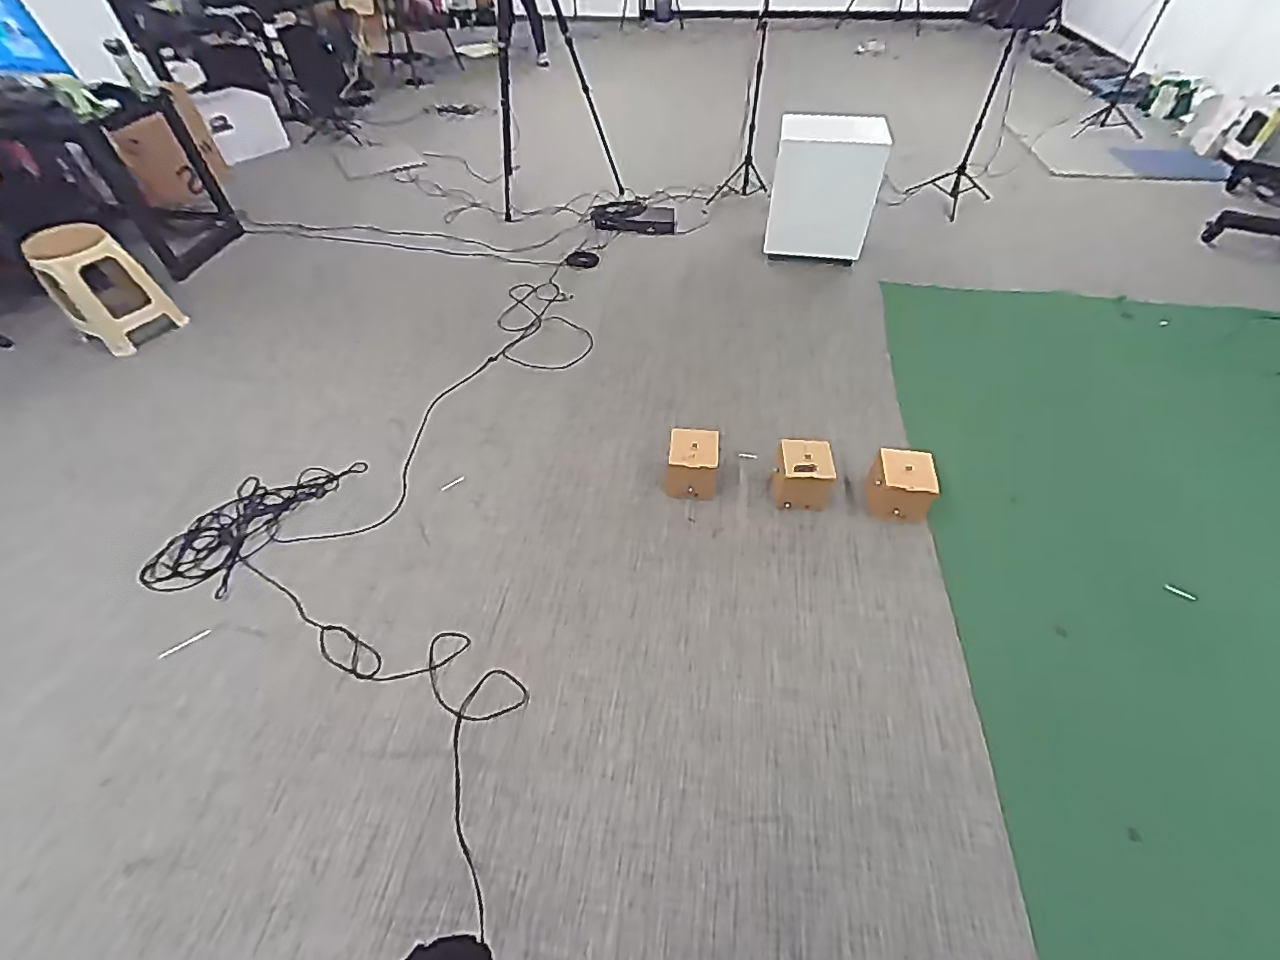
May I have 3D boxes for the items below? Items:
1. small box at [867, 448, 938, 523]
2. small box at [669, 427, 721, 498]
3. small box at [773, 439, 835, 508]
[{"bbox_3d":[0.881,0.020,1.834,0.168,0.176,0.179,7,50,7],"label":"small box"},{"bbox_3d":[0.191,-0.062,1.905,0.168,0.176,0.179,4,50,6],"label":"small box"},{"bbox_3d":[0.562,-0.019,1.867,0.168,0.176,0.179,4,49,3],"label":"small box"}]
